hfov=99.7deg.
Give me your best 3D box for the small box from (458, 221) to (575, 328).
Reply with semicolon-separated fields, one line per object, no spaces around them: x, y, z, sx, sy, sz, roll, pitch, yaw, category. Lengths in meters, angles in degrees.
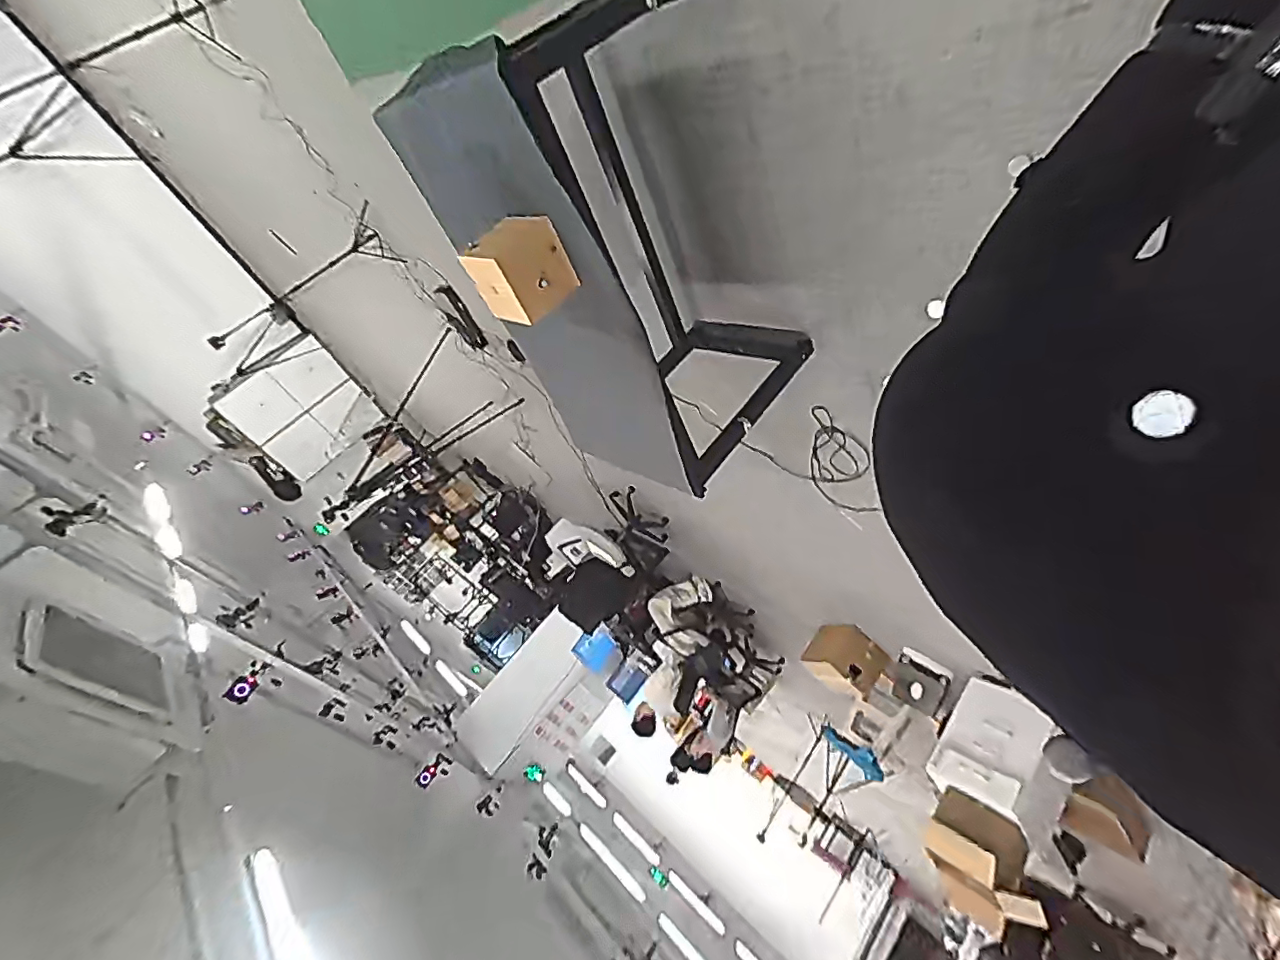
-0.271;-0.474;1.238;0.179;0.176;0.168;25;154;42;small box
